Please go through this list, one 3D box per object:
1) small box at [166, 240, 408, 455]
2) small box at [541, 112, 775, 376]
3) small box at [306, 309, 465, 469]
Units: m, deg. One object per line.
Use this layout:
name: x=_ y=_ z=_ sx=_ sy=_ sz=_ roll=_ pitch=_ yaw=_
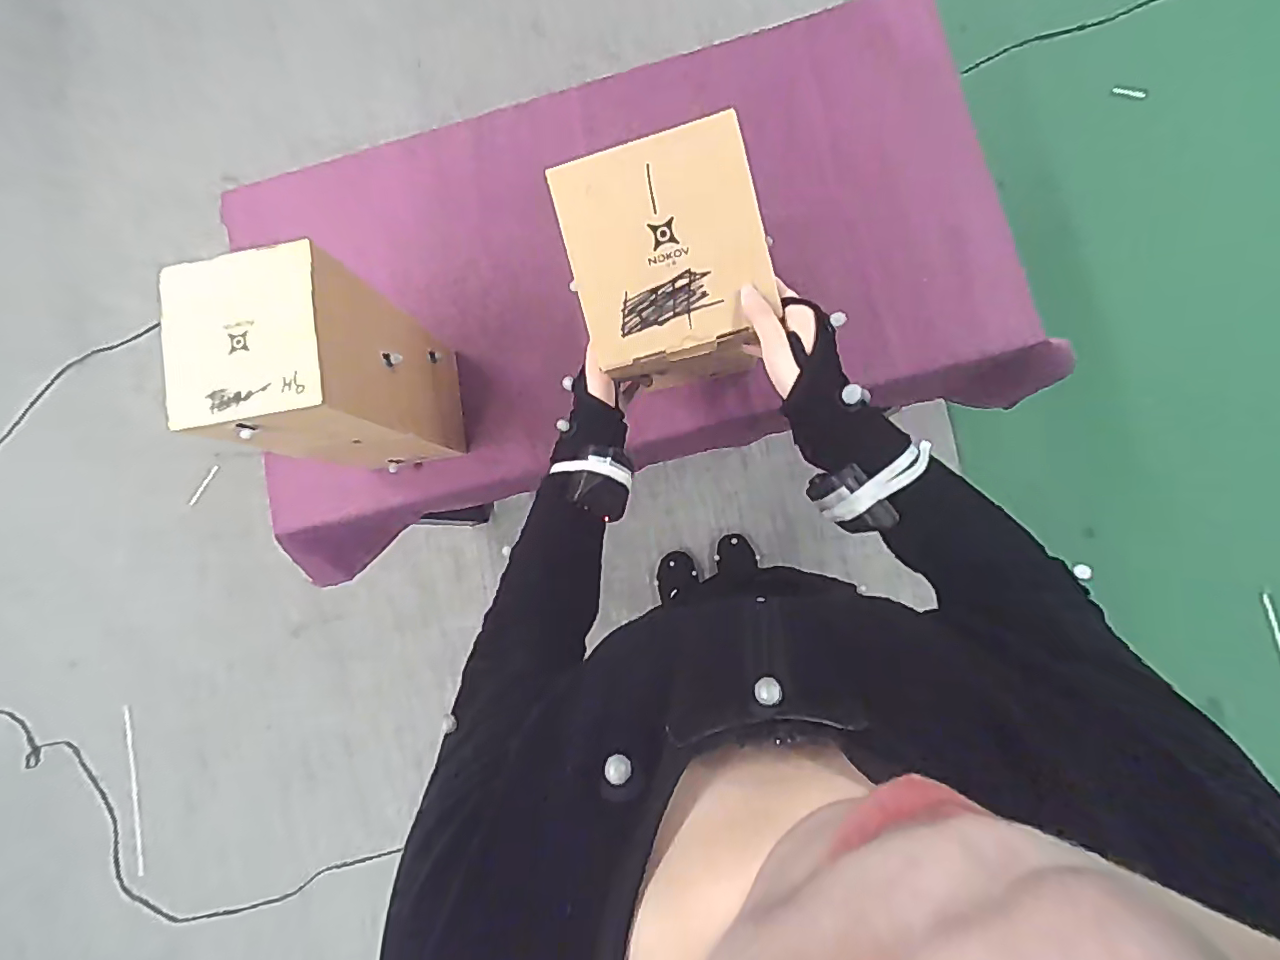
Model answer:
small box: x=-0.389 y=-0.137 z=0.620 sx=0.168 sy=0.176 sz=0.179 roll=-9 pitch=82 yaw=6
small box: x=0.023 y=-0.206 z=0.533 sx=0.168 sy=0.176 sz=0.179 roll=-15 pitch=95 yaw=6
small box: x=-0.371 y=-0.121 z=0.784 sx=0.168 sy=0.176 sz=0.179 roll=-9 pitch=84 yaw=5
